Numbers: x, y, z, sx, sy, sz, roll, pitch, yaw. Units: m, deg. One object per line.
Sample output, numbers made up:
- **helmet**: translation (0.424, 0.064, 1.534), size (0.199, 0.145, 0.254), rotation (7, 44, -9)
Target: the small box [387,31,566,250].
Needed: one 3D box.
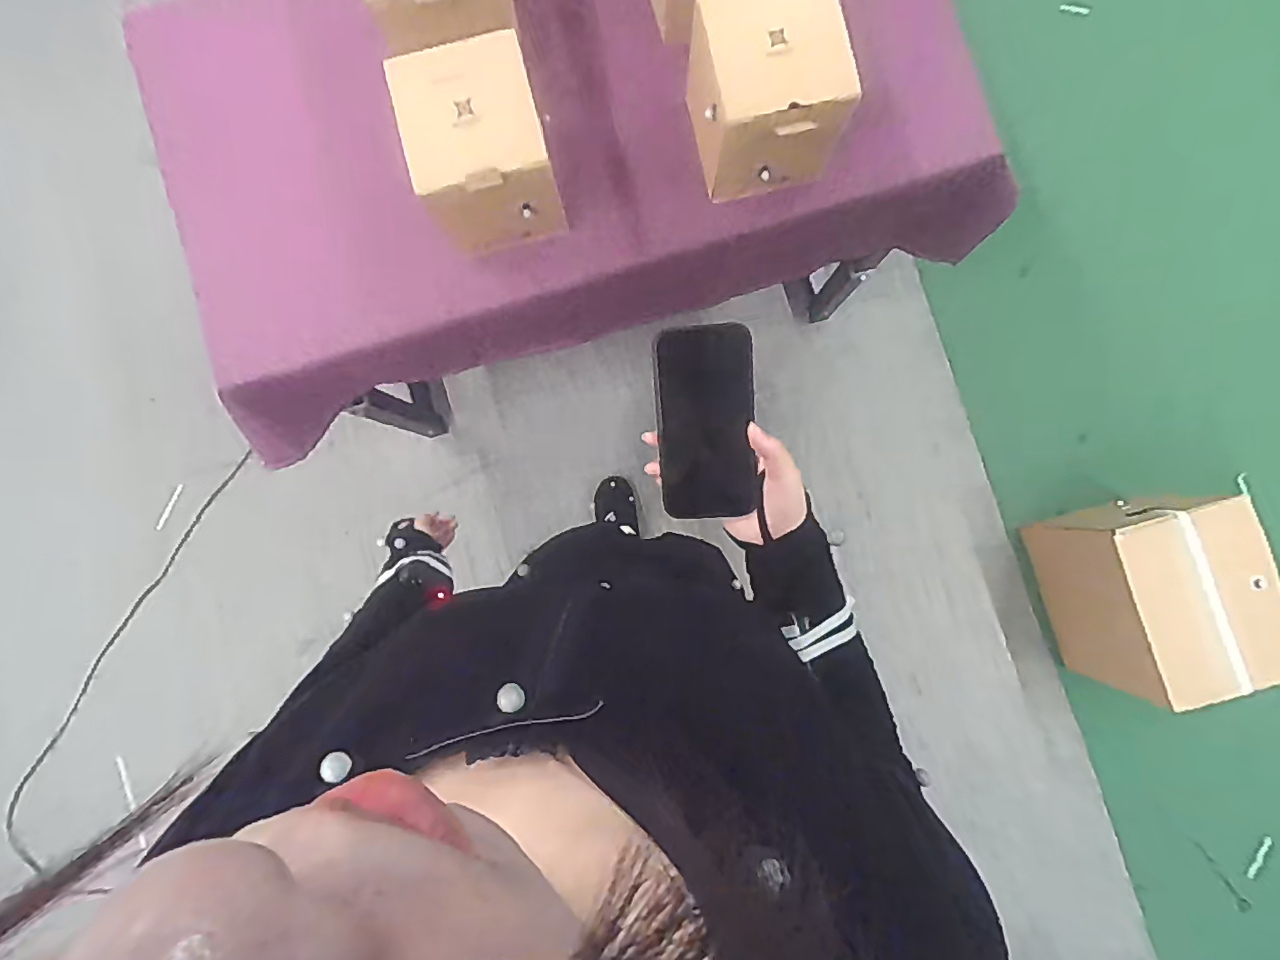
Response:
- **small box**: translation (-0.204, -0.432, 0.724), size (0.168, 0.176, 0.179), rotation (-14, 86, -1)

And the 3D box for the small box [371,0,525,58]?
- **small box**: translation (-0.262, -0.672, 0.735), size (0.168, 0.176, 0.179), rotation (-10, 87, 1)

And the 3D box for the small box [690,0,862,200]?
- **small box**: translation (0.167, -0.514, 0.721), size (0.168, 0.176, 0.179), rotation (-12, 87, 1)
